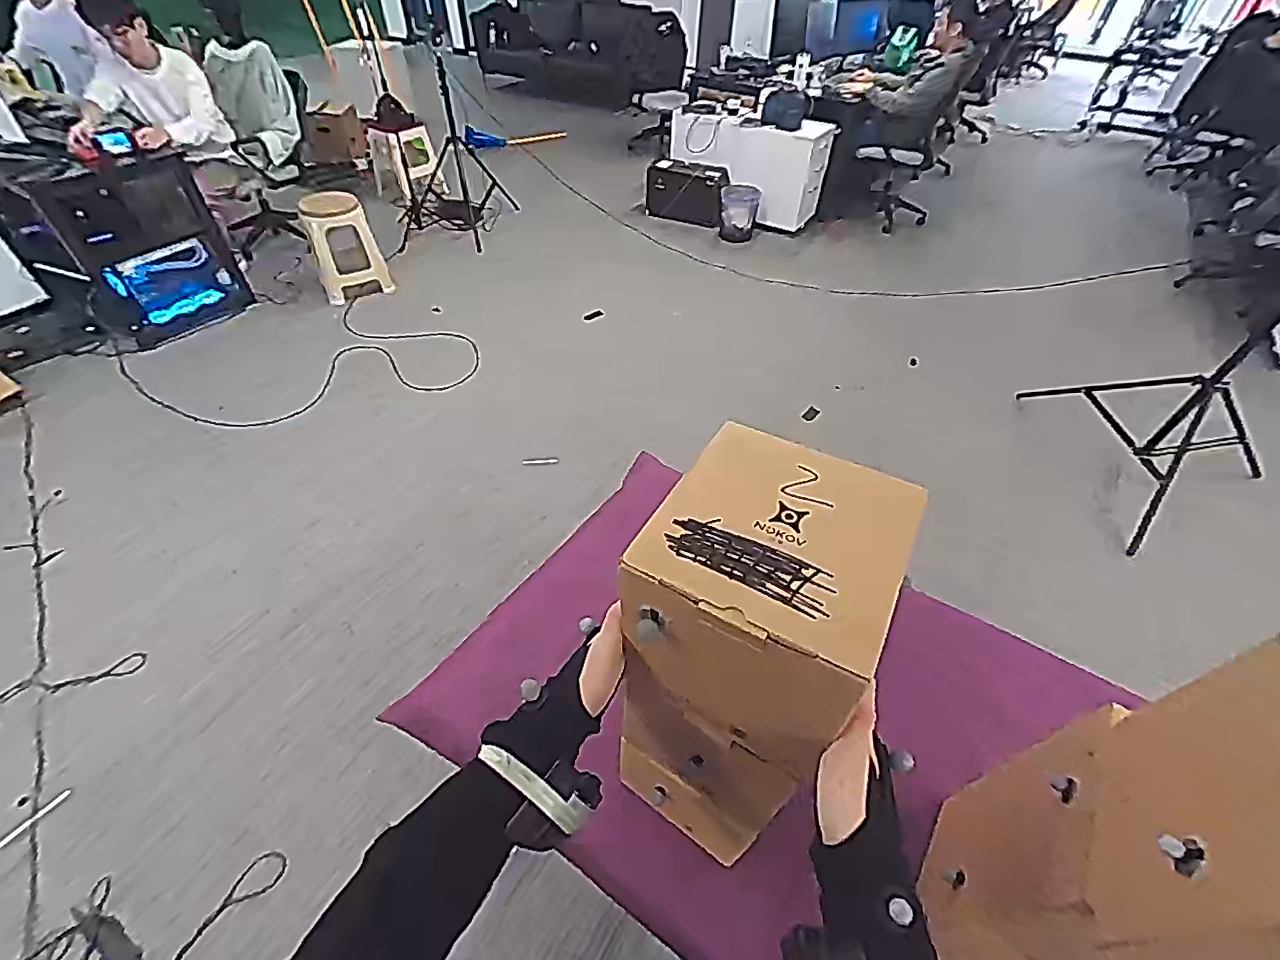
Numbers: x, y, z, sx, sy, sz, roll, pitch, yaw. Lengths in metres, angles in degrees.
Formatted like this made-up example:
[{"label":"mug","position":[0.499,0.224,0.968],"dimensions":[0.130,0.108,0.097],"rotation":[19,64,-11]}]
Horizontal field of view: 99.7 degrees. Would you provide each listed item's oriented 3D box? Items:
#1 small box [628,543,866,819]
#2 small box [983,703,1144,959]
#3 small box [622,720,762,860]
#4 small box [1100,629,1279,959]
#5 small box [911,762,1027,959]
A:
[{"label":"small box","position":[0.102,0.206,0.555],"dimensions":[0.168,0.176,0.179],"rotation":[27,50,21]},{"label":"small box","position":[0.420,0.331,0.446],"dimensions":[0.168,0.176,0.179],"rotation":[29,52,24]},{"label":"small box","position":[0.094,0.325,0.668],"dimensions":[0.168,0.176,0.179],"rotation":[28,50,22]},{"label":"small box","position":[0.414,0.232,0.316],"dimensions":[0.168,0.176,0.179],"rotation":[27,50,21]},{"label":"small box","position":[0.411,0.445,0.564],"dimensions":[0.168,0.176,0.179],"rotation":[30,52,24]}]
